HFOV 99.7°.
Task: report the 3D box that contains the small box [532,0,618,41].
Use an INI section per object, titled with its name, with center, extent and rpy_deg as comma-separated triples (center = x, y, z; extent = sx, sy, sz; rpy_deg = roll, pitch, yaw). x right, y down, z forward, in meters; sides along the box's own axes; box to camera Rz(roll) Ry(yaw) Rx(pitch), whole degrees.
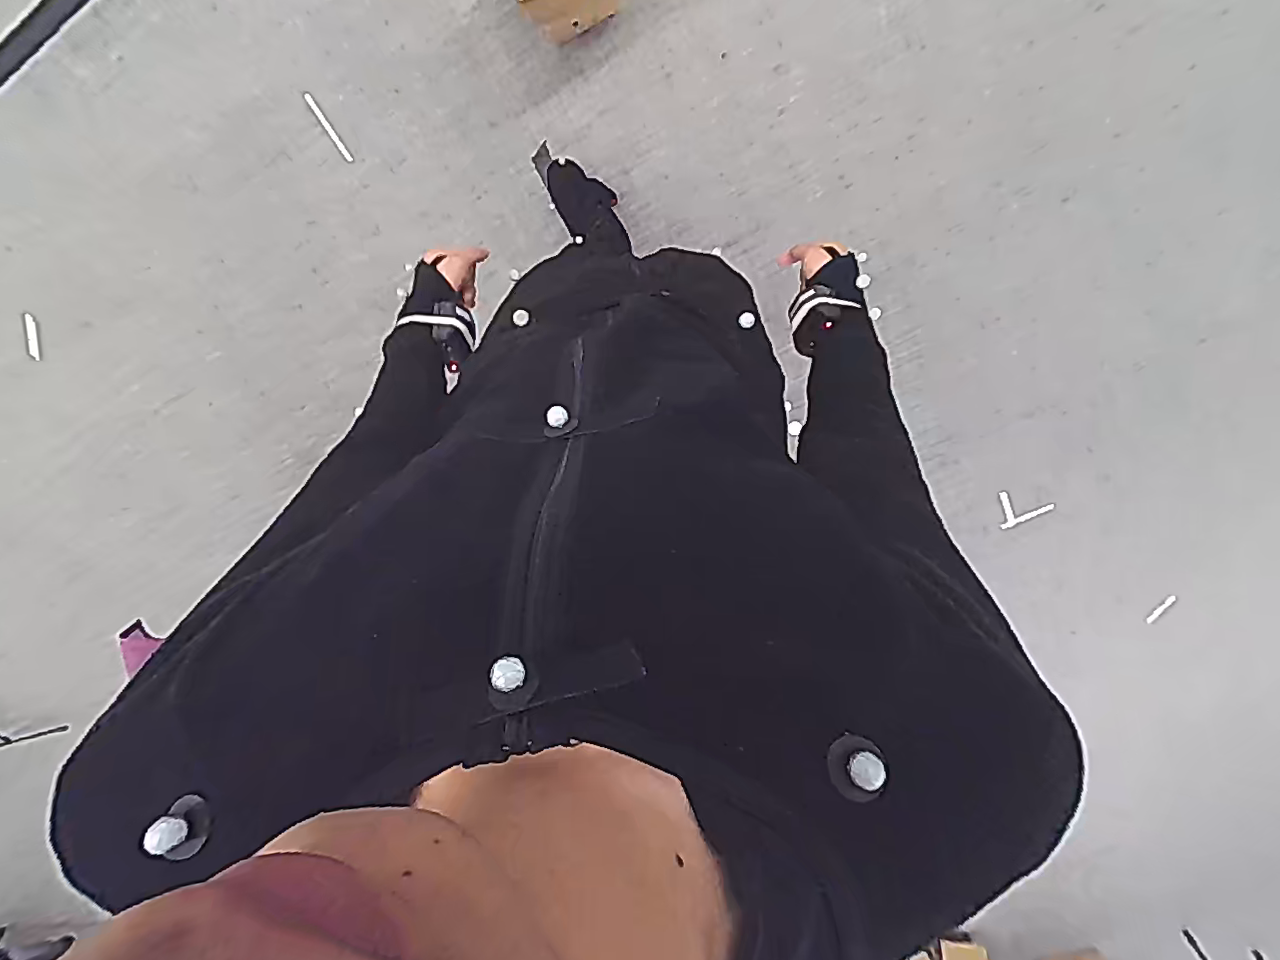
[small box]
center = -0.150, -1.030, 1.092
extent = 0.168, 0.176, 0.179
rpy_deg = -22, 117, 11
